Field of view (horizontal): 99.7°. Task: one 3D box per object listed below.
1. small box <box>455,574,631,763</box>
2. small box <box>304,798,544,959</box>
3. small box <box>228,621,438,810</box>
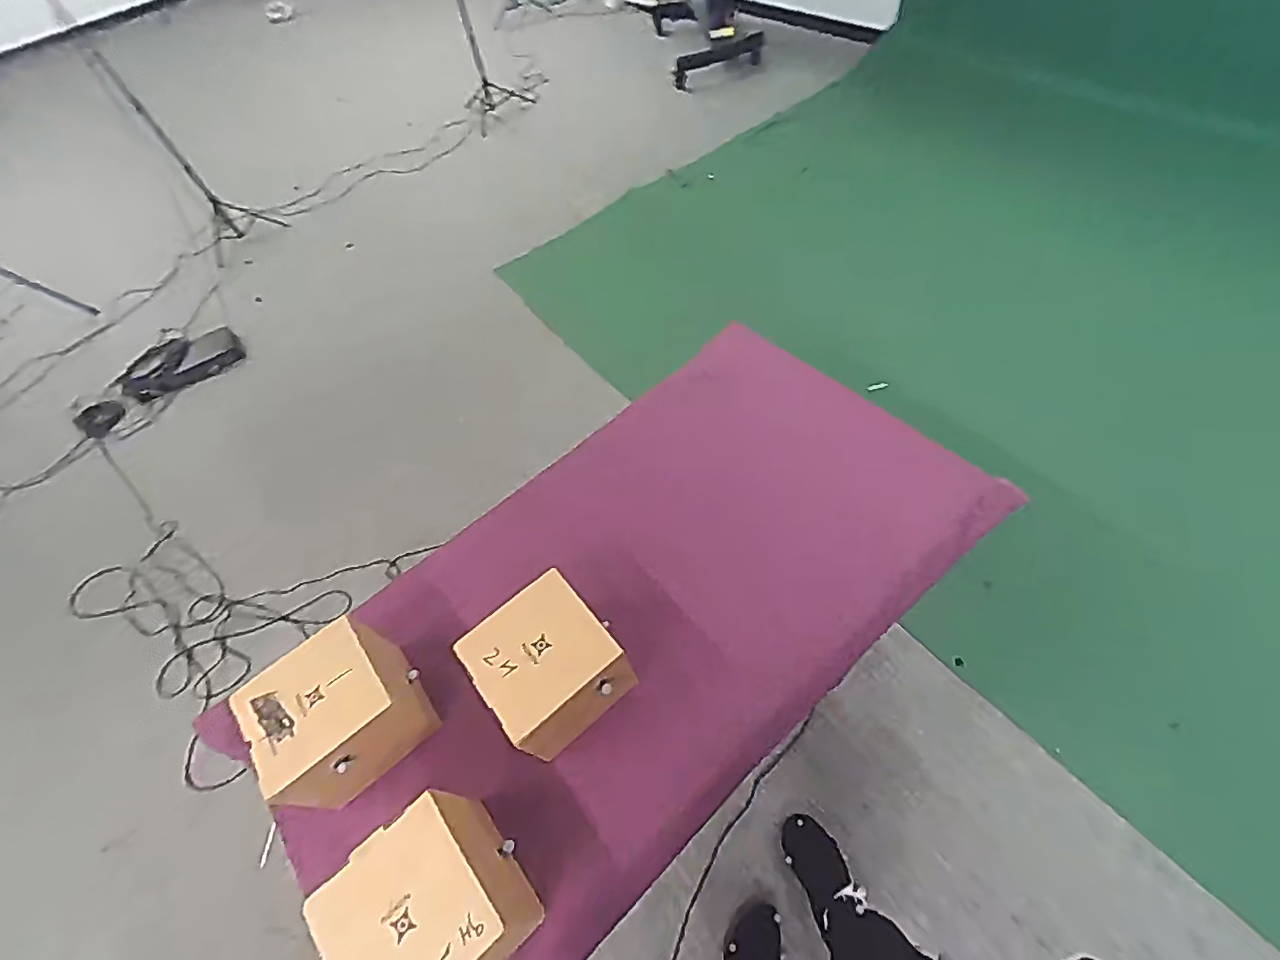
[{"bbox_3d":[-0.127,0.273,0.778,0.179,0.176,0.168,-37,59,-16],"label":"small box"},{"bbox_3d":[-0.242,0.516,0.635,0.168,0.176,0.179,-40,59,-17],"label":"small box"},{"bbox_3d":[-0.428,0.343,0.776,0.179,0.176,0.168,-37,60,-17],"label":"small box"}]
